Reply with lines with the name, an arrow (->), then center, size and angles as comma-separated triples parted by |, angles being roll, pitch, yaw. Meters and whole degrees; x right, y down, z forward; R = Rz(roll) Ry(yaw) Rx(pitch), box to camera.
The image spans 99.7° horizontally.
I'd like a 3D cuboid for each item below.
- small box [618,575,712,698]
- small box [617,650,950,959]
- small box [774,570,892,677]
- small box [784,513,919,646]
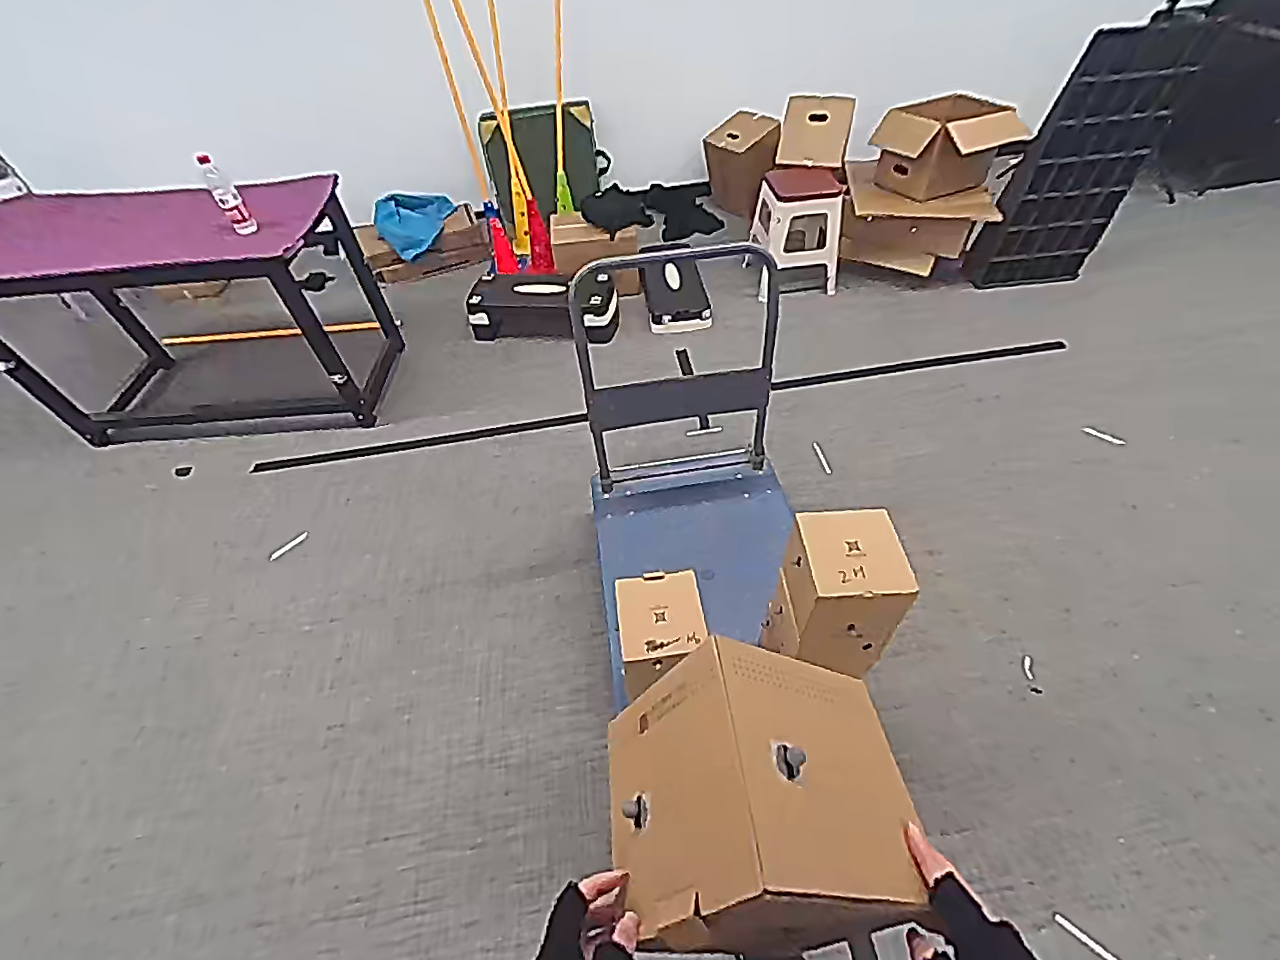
small box -> 0.046, 0.318, 1.100 | 0.168, 0.176, 0.179 | -7, 48, -1
small box -> 0.093, 0.262, 0.439 | 0.179, 0.168, 0.176 | 23, 35, -24
small box -> 0.377, 0.292, 1.100 | 0.179, 0.176, 0.168 | -4, 49, 0
small box -> 0.367, 0.180, 0.978 | 0.168, 0.176, 0.179 | -3, 49, 2
